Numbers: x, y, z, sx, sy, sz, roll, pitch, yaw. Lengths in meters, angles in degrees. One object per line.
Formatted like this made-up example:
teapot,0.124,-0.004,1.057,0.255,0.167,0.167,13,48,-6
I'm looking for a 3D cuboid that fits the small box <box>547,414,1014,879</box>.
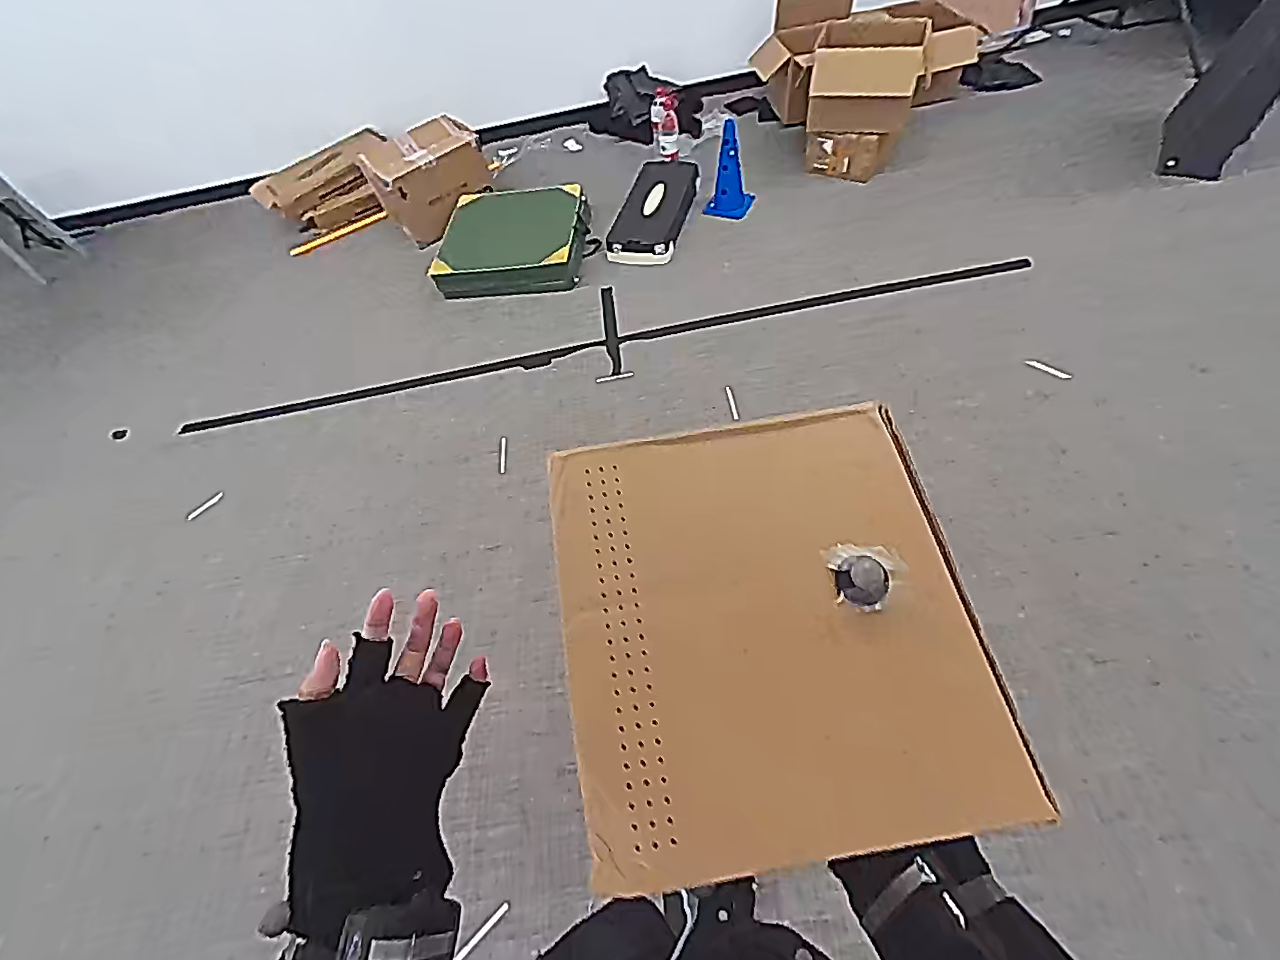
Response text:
small box,0.048,0.089,0.305,0.176,0.168,0.179,-10,65,0
